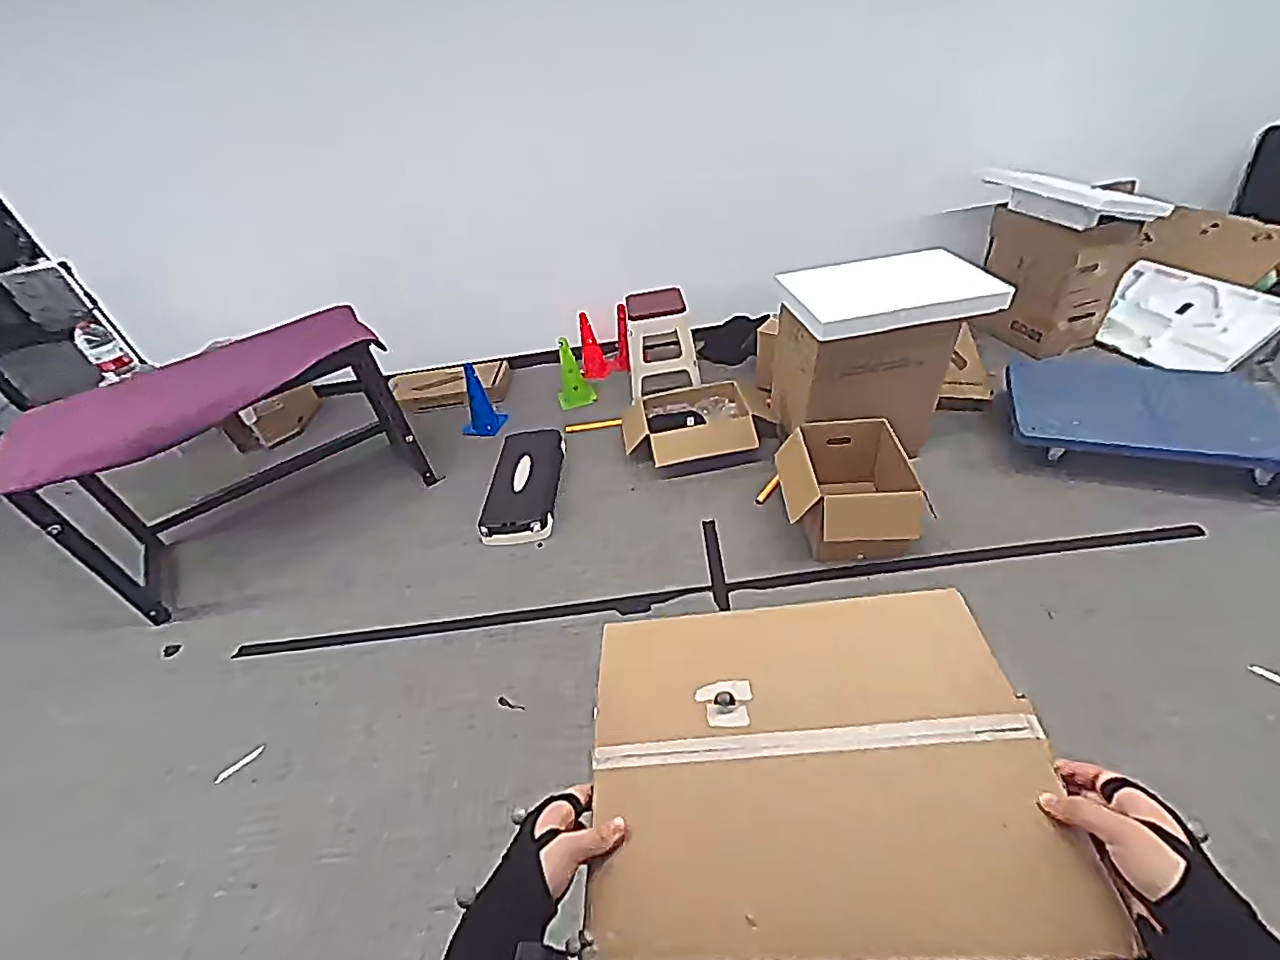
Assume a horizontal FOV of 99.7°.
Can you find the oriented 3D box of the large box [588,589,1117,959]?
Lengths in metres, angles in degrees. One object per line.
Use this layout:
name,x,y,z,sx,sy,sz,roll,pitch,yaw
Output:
large box,0.185,0.363,0.620,0.408,0.320,0.320,-9,40,9
